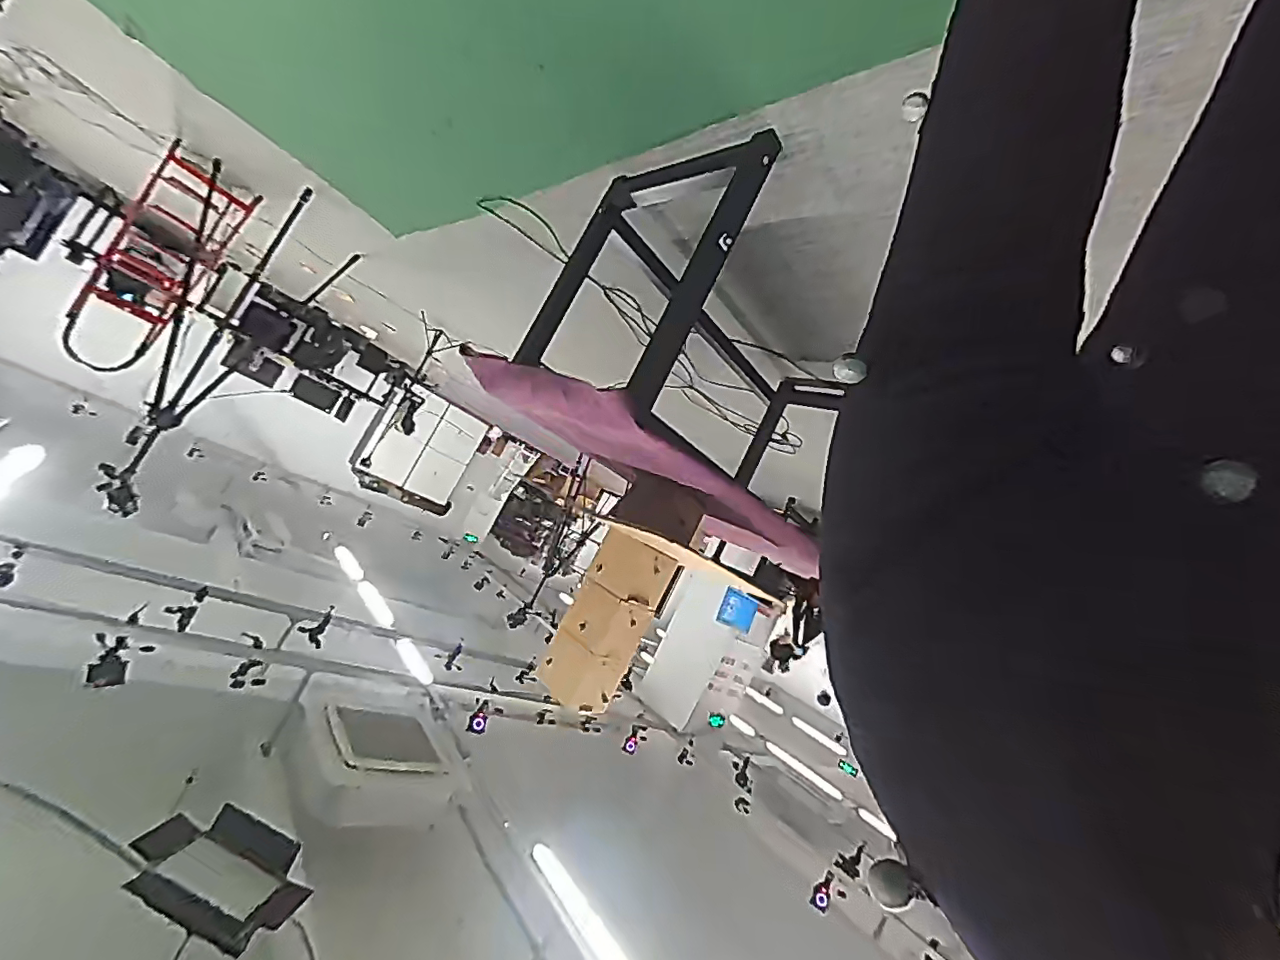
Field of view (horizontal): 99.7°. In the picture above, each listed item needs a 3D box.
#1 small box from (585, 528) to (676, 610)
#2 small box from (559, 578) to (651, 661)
[{"bbox_3d":[-0.025,0.260,1.614,0.179,0.176,0.168,22,172,46],"label":"small box"},{"bbox_3d":[-0.101,0.404,1.598,0.179,0.176,0.168,21,171,46],"label":"small box"}]
